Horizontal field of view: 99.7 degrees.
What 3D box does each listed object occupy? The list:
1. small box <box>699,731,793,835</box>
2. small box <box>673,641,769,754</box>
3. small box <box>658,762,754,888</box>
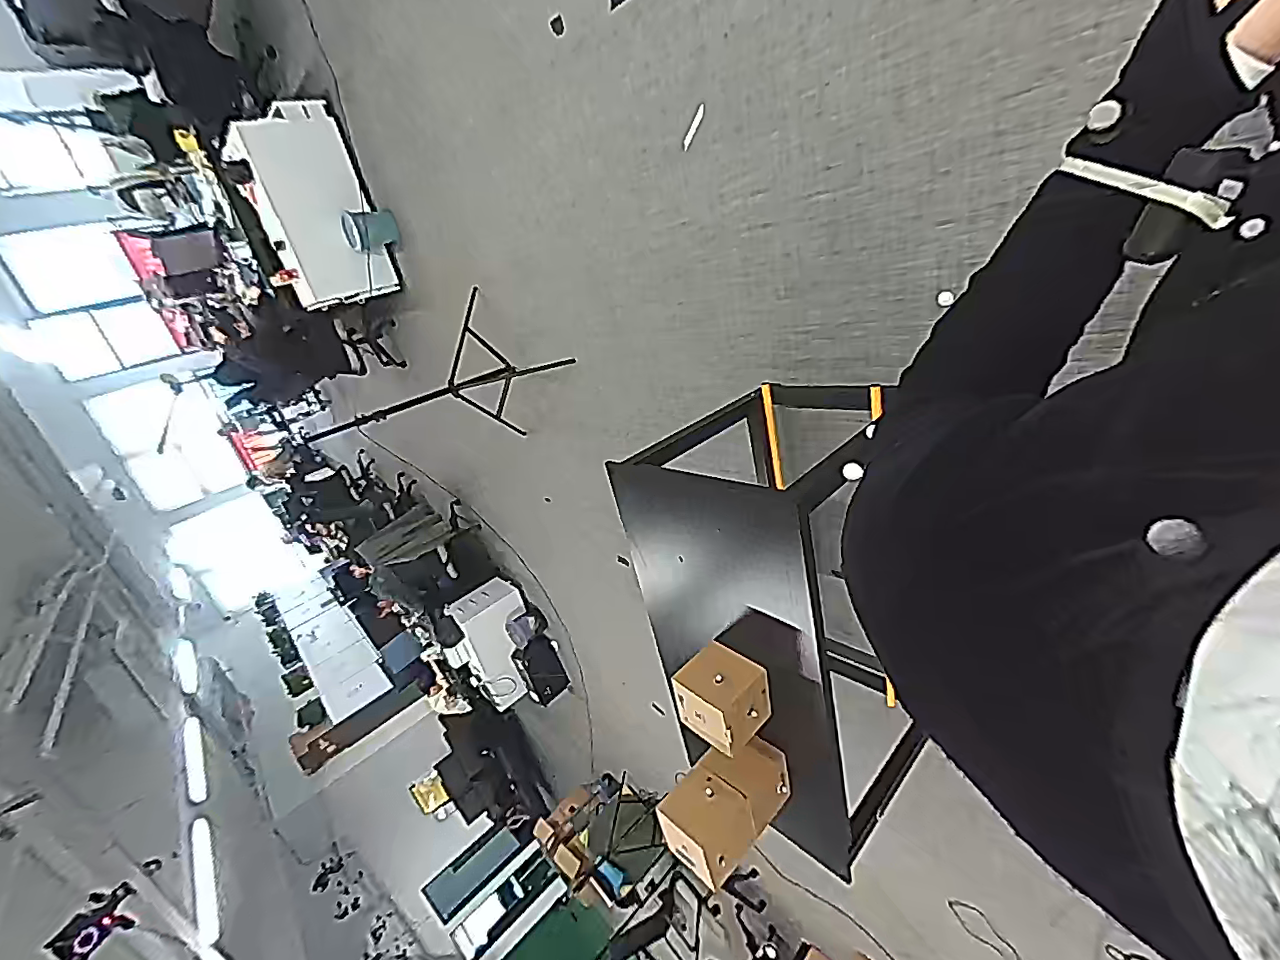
[{"bbox_3d":[0.294,0.811,1.488,0.179,0.176,0.168,13,126,47],"label":"small box"},{"bbox_3d":[0.215,0.546,1.383,0.179,0.176,0.168,17,128,46],"label":"small box"},{"bbox_3d":[0.176,0.882,1.397,0.168,0.176,0.179,12,125,49],"label":"small box"}]
